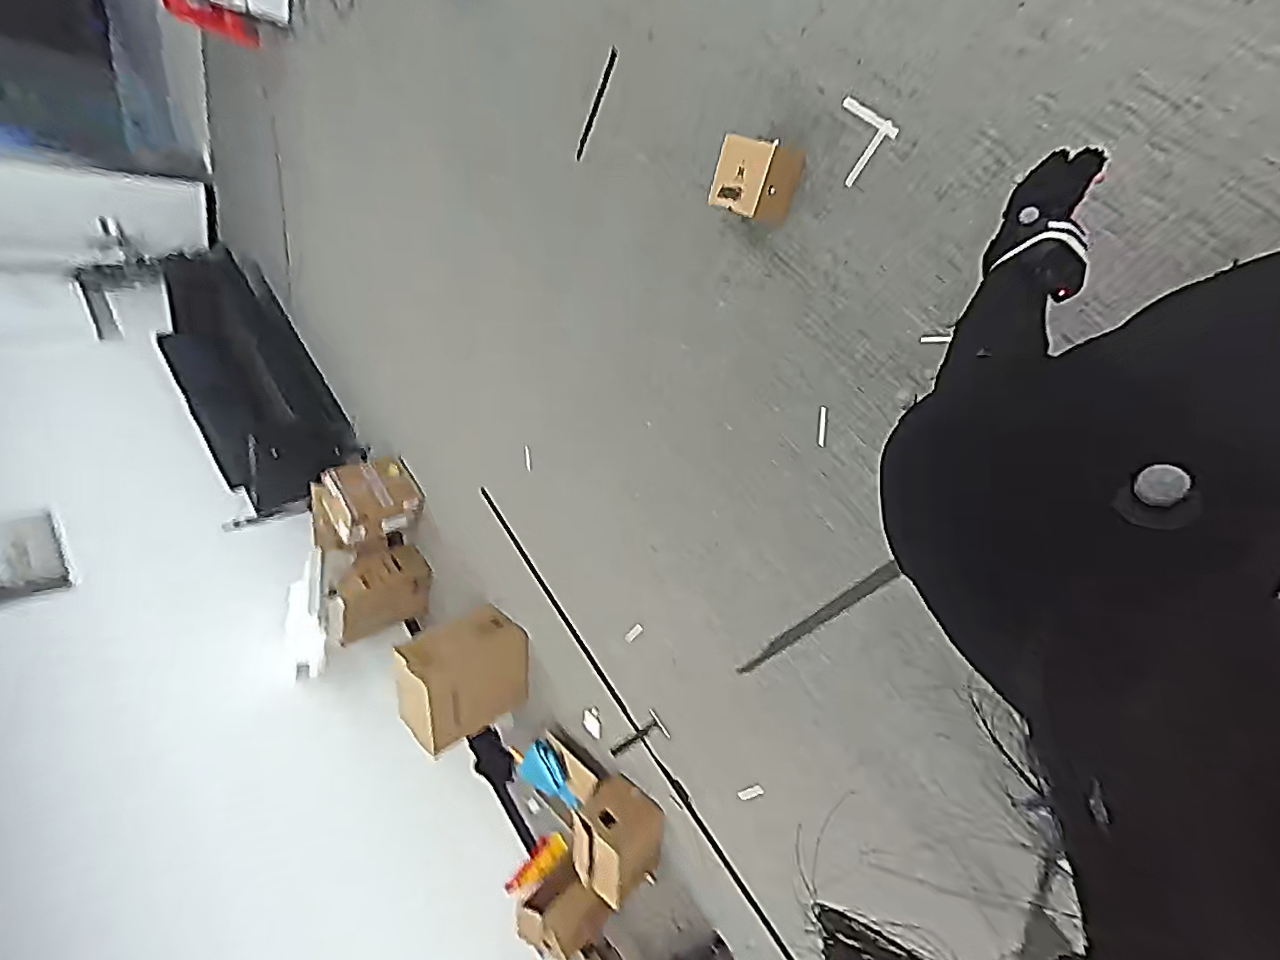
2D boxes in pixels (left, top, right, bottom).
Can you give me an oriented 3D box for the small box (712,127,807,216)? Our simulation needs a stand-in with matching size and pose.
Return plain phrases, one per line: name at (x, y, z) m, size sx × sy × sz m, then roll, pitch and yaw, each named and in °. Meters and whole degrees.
small box at (0.334, -0.849, 1.498) m, size 0.168 × 0.176 × 0.179 m, roll 37°, pitch 127°, yaw 30°
